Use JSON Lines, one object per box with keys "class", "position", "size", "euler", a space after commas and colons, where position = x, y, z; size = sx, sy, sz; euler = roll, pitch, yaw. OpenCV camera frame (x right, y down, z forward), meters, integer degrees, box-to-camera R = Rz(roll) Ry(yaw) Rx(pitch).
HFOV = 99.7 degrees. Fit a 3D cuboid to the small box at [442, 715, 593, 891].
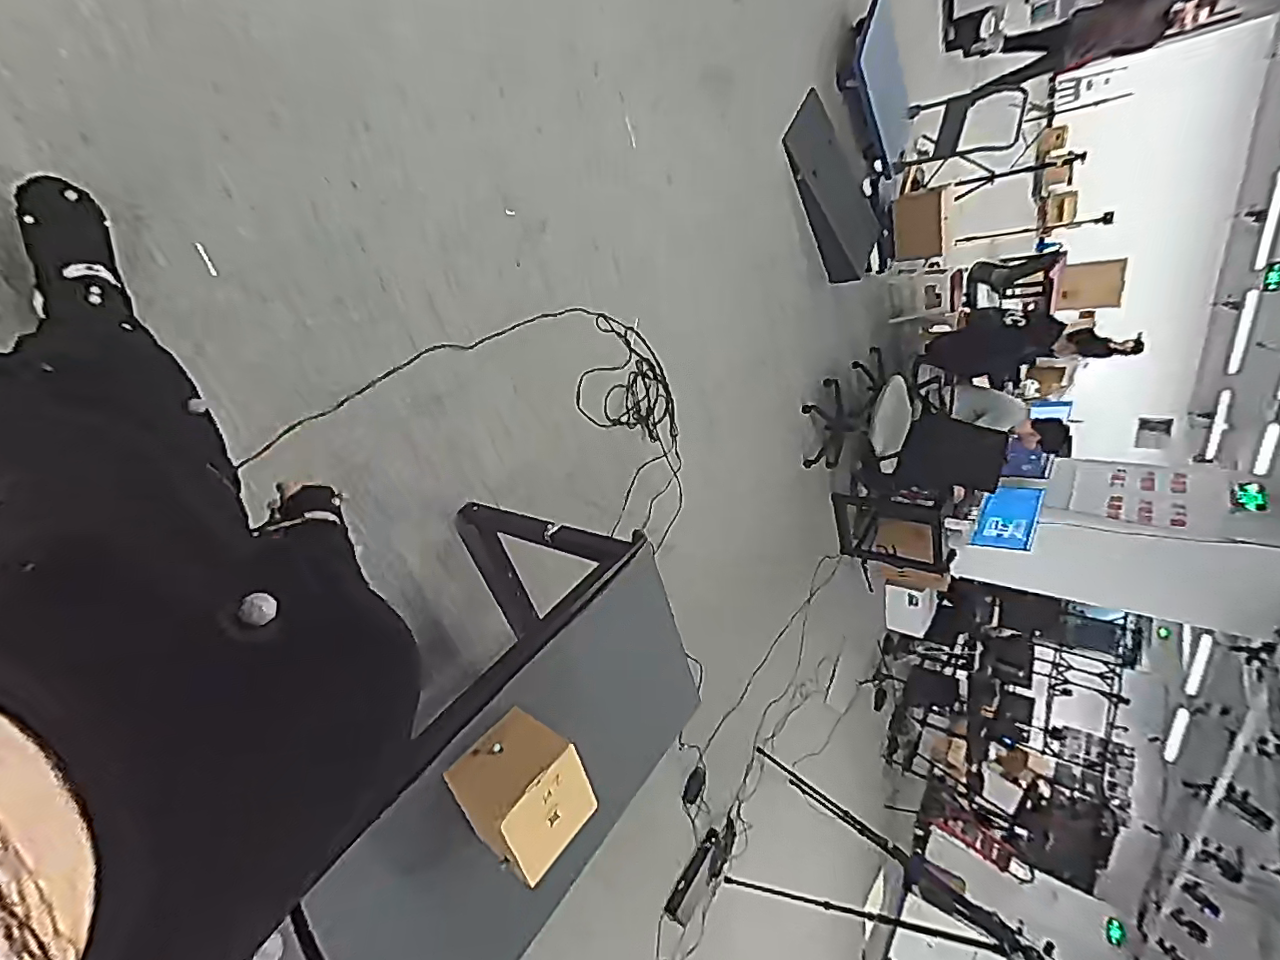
{"class": "small box", "position": [-0.214, 0.554, 0.952], "size": [0.168, 0.176, 0.179], "euler": [-37, 123, -41]}
